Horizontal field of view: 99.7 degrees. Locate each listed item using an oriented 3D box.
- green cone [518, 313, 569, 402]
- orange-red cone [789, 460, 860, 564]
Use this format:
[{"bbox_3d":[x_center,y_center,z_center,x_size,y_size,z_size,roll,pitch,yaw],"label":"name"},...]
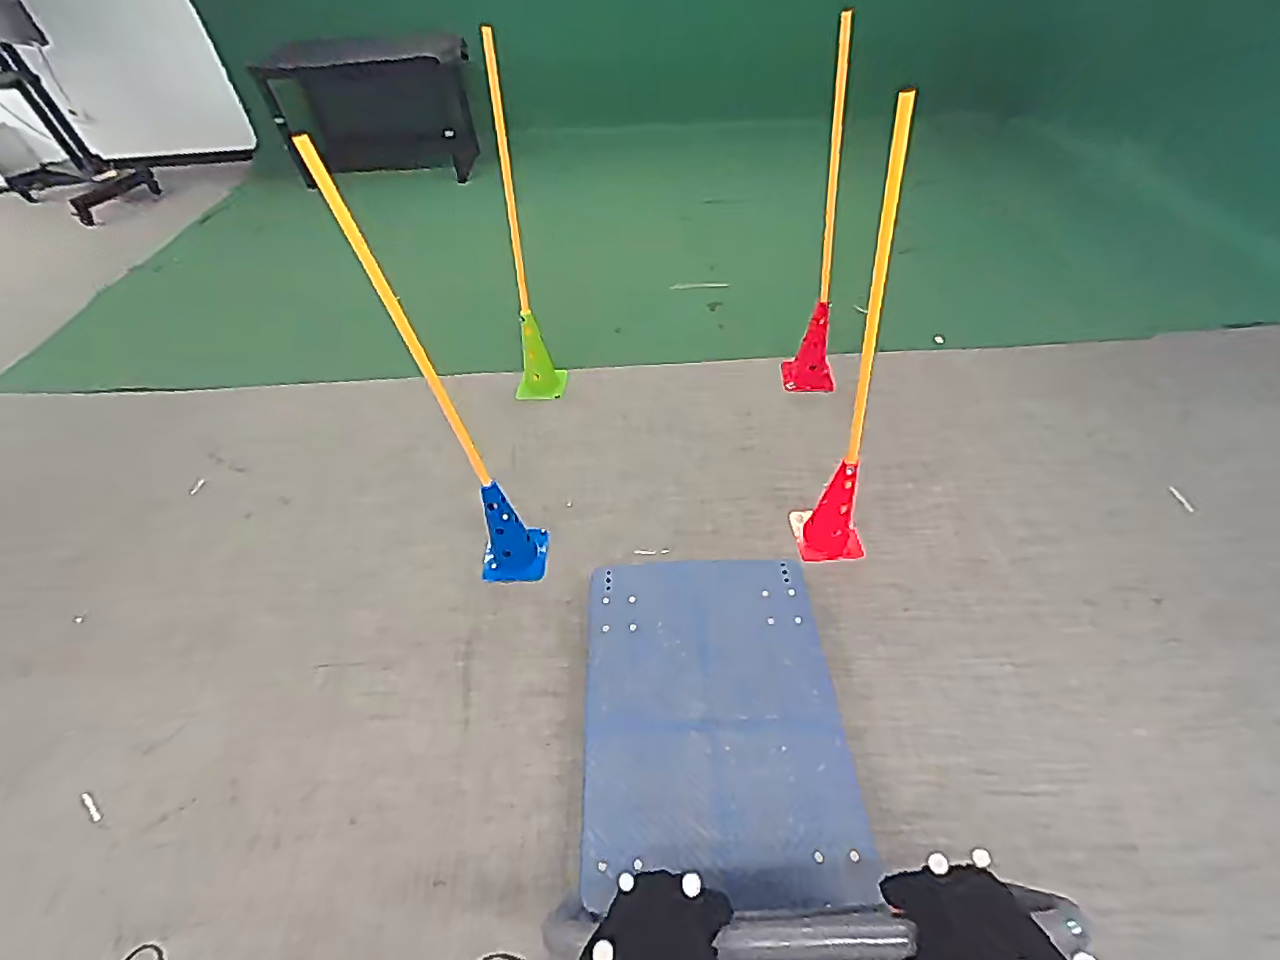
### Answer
[{"bbox_3d":[-0.430,-0.520,2.230,0.202,0.368,0.200,0,48,5],"label":"green cone"},{"bbox_3d":[0.590,0.075,1.641,0.199,0.360,0.198,-4,48,2],"label":"orange-red cone"}]
